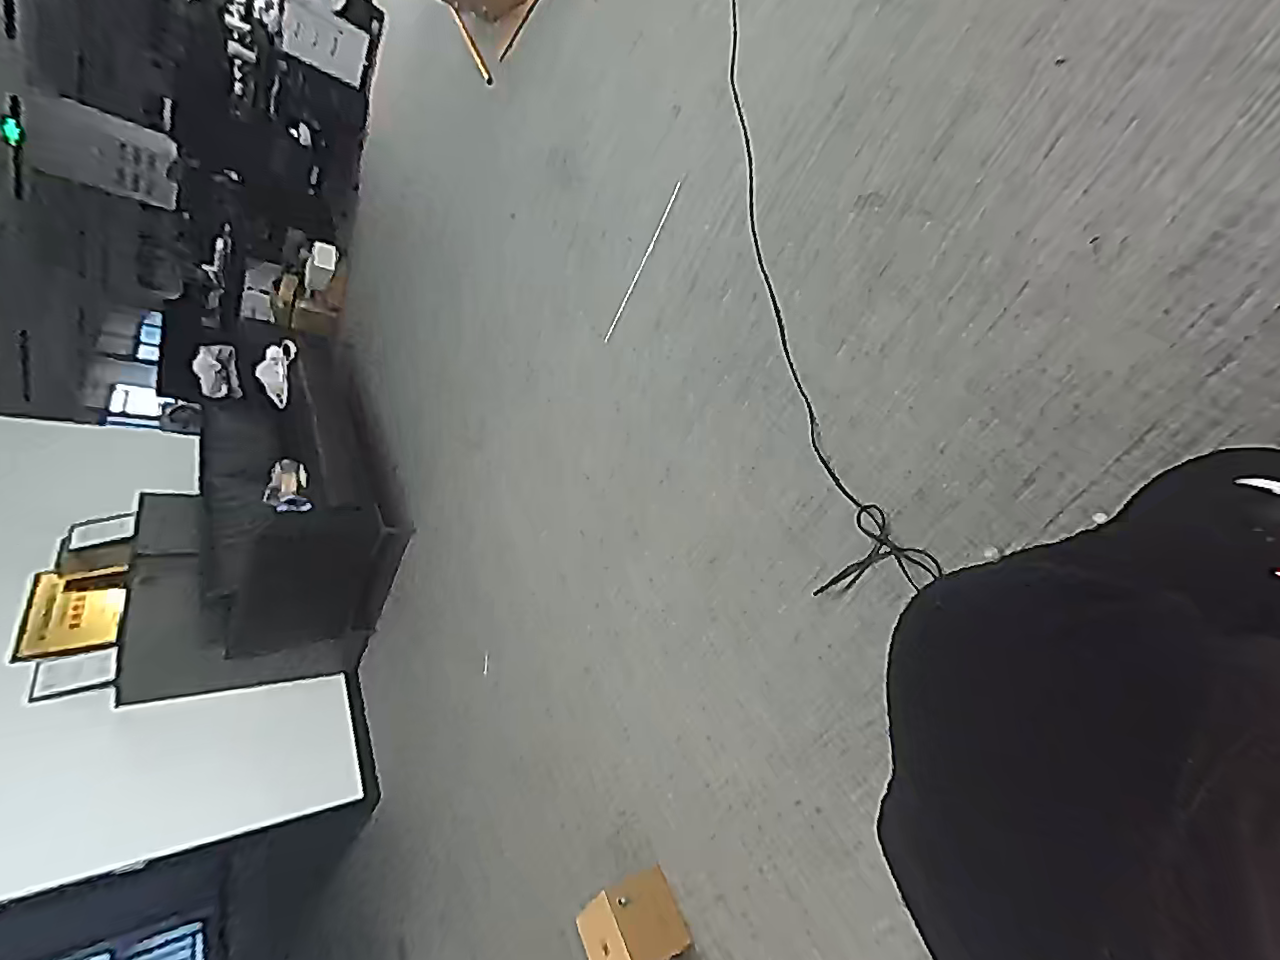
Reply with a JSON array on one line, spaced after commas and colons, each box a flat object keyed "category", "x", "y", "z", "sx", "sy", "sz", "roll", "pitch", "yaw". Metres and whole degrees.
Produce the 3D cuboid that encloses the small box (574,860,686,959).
[{"category": "small box", "x": -0.022, "y": 1.045, "z": 1.273, "sx": 0.168, "sy": 0.176, "sz": 0.179, "roll": -60, "pitch": 45, "yaw": 25}]
